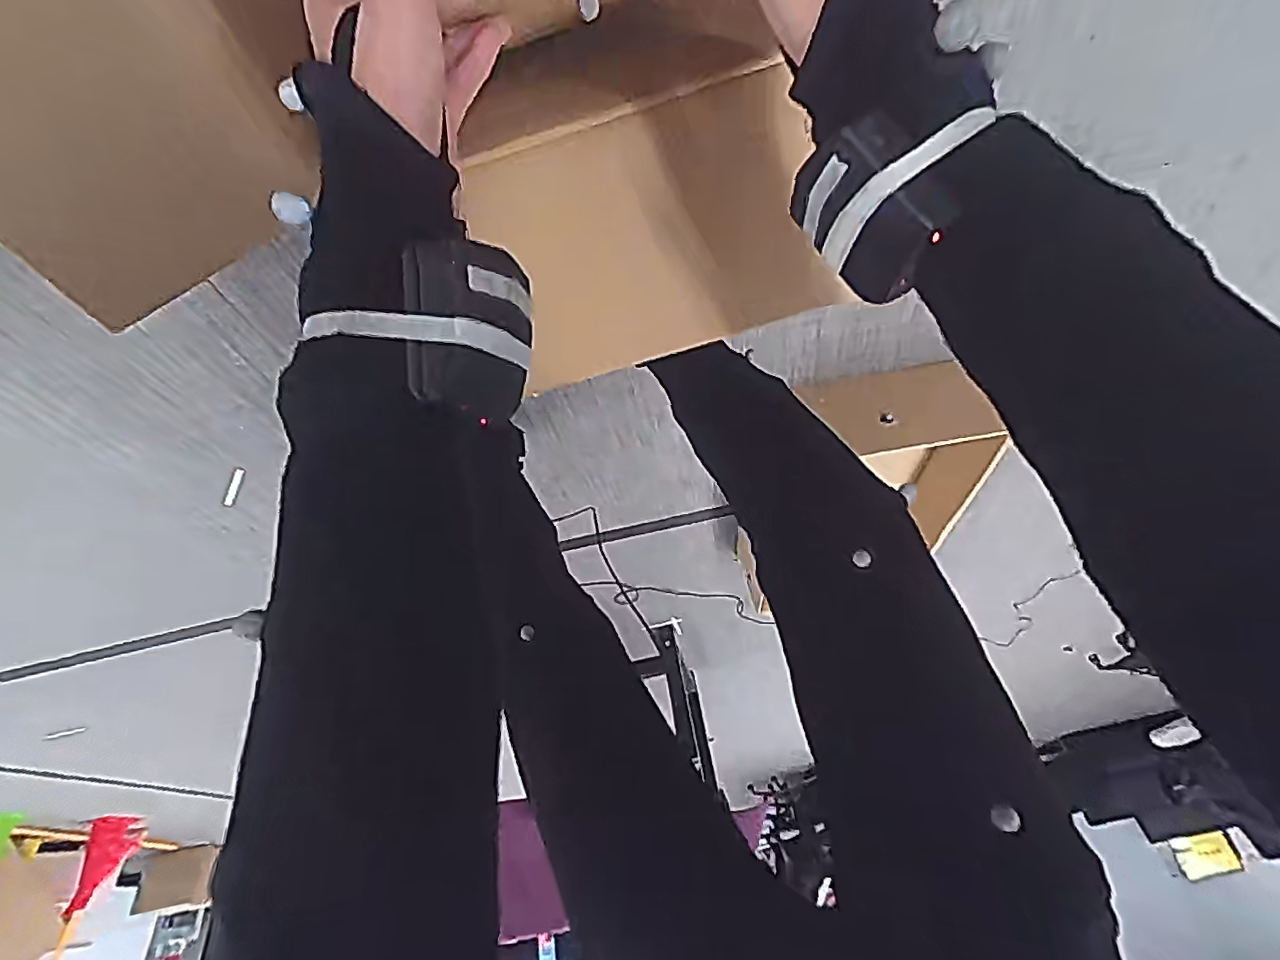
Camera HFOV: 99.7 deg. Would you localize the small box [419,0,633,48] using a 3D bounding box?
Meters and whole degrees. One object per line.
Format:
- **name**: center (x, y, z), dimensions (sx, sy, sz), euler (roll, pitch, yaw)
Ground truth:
- **small box**: center (-0.047, -0.352, 0.273), dimensions (0.179, 0.176, 0.168), euler (-16, 122, 5)
